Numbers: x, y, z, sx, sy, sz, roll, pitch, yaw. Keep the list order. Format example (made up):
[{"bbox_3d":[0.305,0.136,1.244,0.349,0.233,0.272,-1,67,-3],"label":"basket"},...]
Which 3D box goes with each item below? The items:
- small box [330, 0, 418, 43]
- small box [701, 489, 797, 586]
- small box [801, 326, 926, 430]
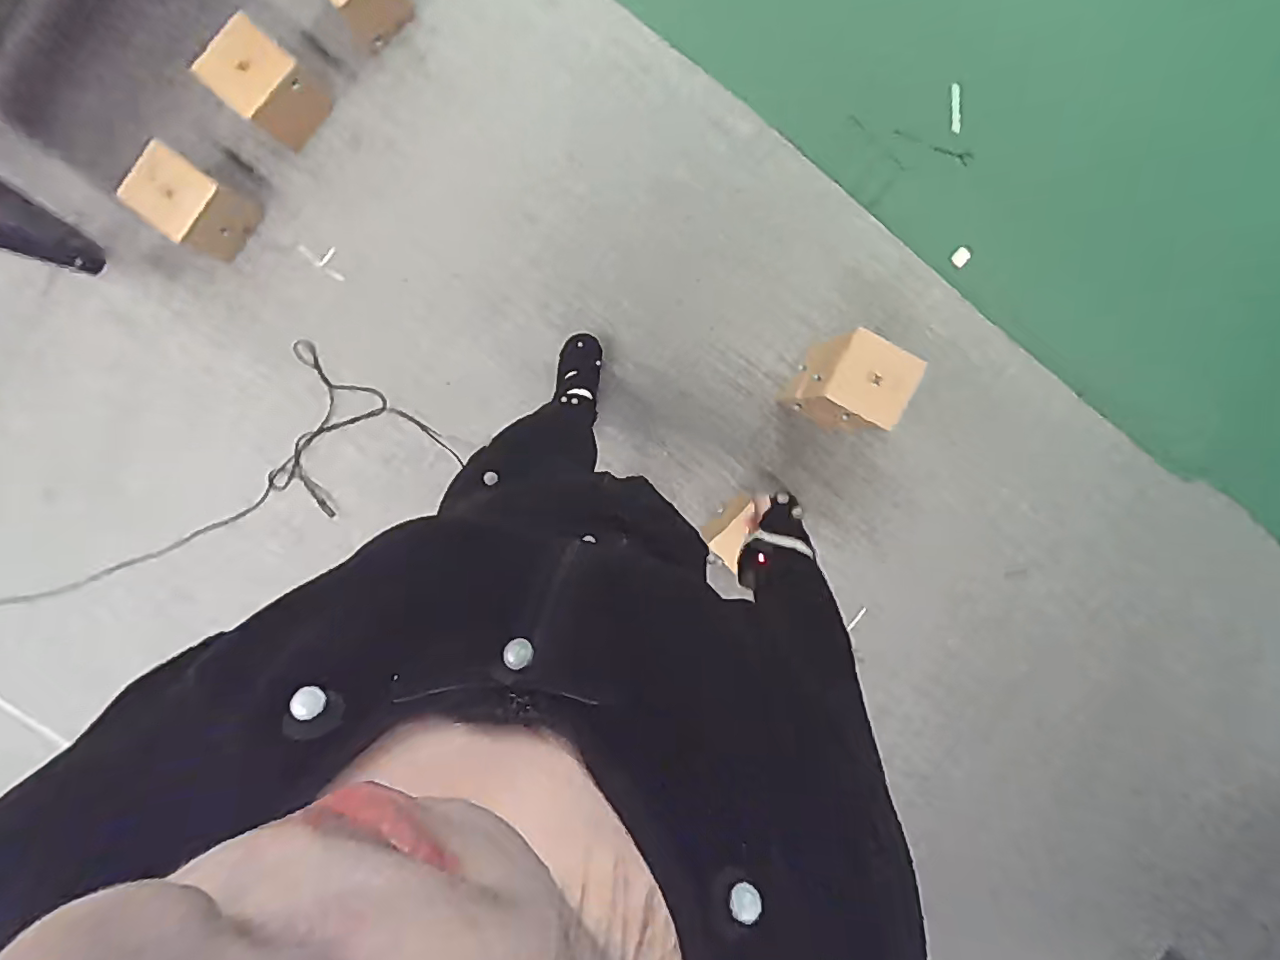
[{"bbox_3d":[-0.666,-1.196,1.282,0.168,0.176,0.179,-43,94,3],"label":"small box"},{"bbox_3d":[0.277,0.144,1.424,0.179,0.176,0.168,-44,95,4],"label":"small box"},{"bbox_3d":[0.494,-0.223,1.227,0.179,0.176,0.168,28,95,-4],"label":"small box"}]
